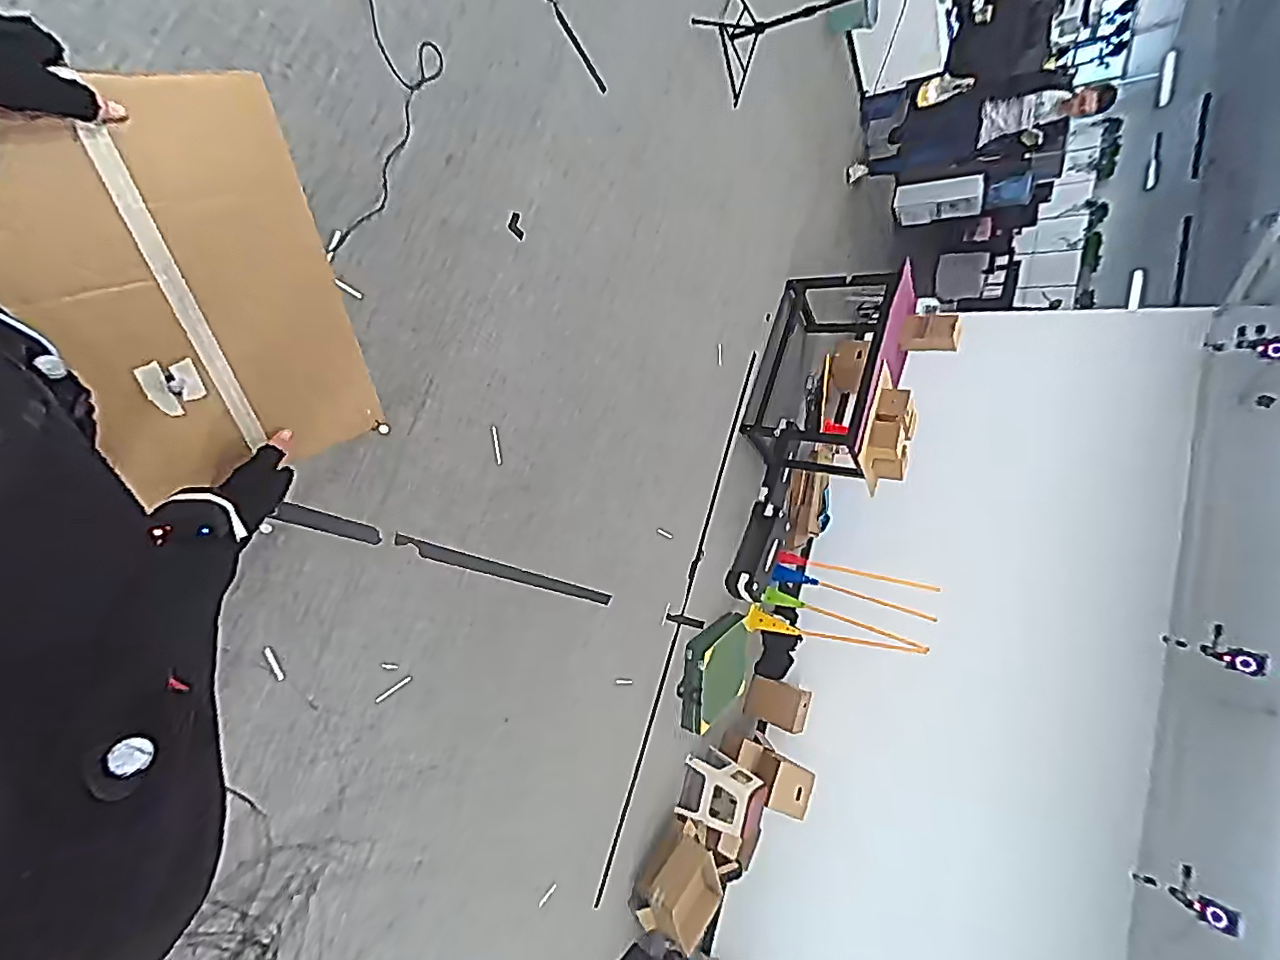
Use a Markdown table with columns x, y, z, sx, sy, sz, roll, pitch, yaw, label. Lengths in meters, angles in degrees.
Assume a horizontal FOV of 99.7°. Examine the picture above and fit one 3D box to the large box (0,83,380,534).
| x | y | z | sx | sy | sz | roll | pitch | yaw | label |
| --- | --- | --- | --- | --- | --- | --- | --- | --- | --- |
| -0.597 | -0.219 | 0.653 | 0.320 | 0.320 | 0.408 | -36 | 135 | -37 | large box |
